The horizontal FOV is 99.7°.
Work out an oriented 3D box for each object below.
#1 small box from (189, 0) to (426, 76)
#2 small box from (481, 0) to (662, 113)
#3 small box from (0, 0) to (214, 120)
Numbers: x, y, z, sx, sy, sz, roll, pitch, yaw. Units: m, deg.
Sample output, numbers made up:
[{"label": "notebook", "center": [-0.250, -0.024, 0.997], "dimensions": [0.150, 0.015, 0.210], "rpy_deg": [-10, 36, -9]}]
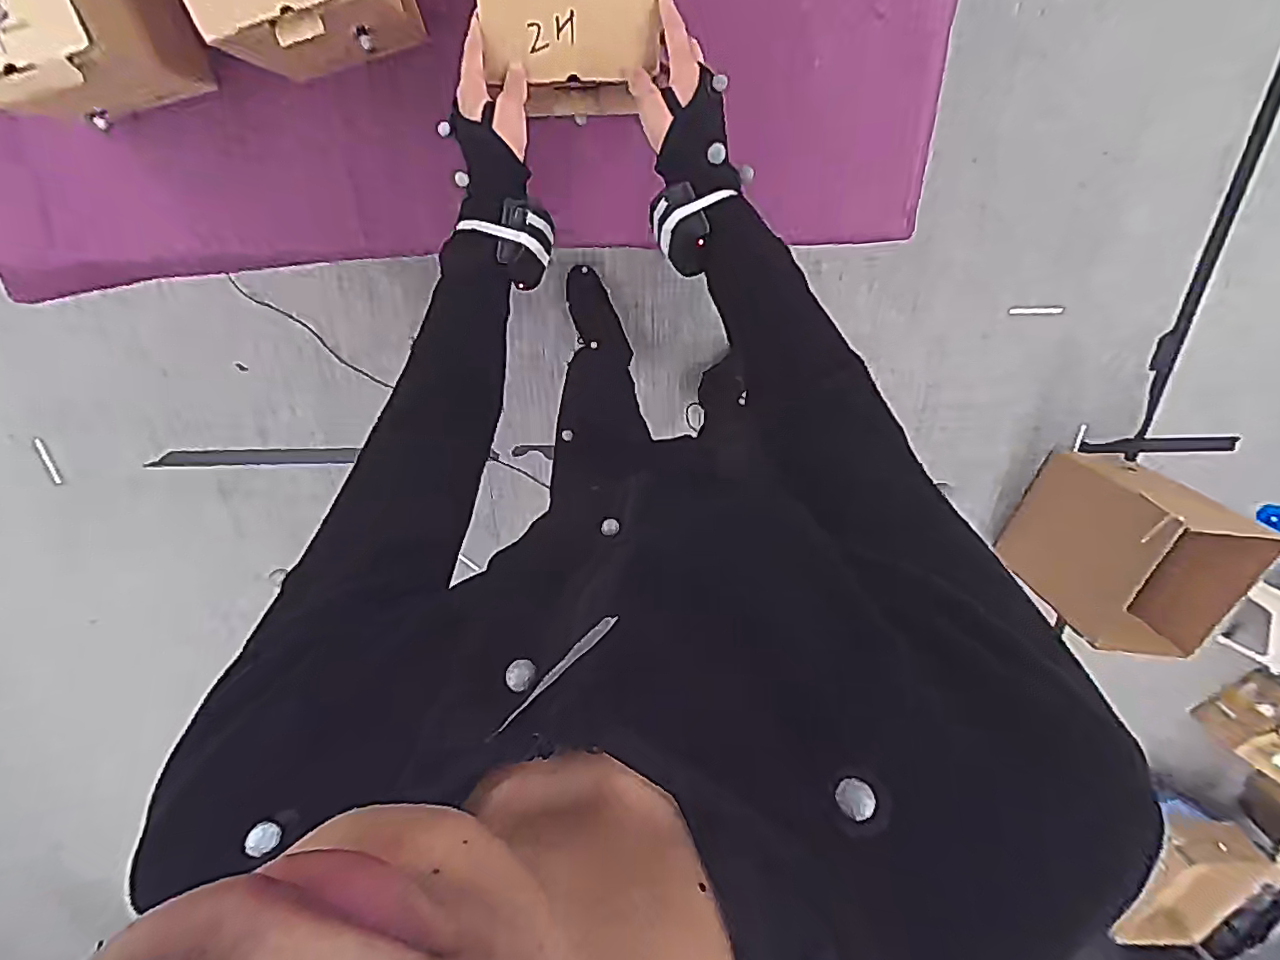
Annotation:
[{"label": "small box", "center": [-0.335, -0.522, 0.523], "dimensions": [0.168, 0.176, 0.179], "rpy_deg": [-14, 116, 3]}, {"label": "small box", "center": [-0.066, -0.492, 0.548], "dimensions": [0.168, 0.176, 0.179], "rpy_deg": [-2, 116, -1]}, {"label": "small box", "center": [-0.582, -0.476, 0.531], "dimensions": [0.168, 0.176, 0.179], "rpy_deg": [-13, 115, 3]}]
